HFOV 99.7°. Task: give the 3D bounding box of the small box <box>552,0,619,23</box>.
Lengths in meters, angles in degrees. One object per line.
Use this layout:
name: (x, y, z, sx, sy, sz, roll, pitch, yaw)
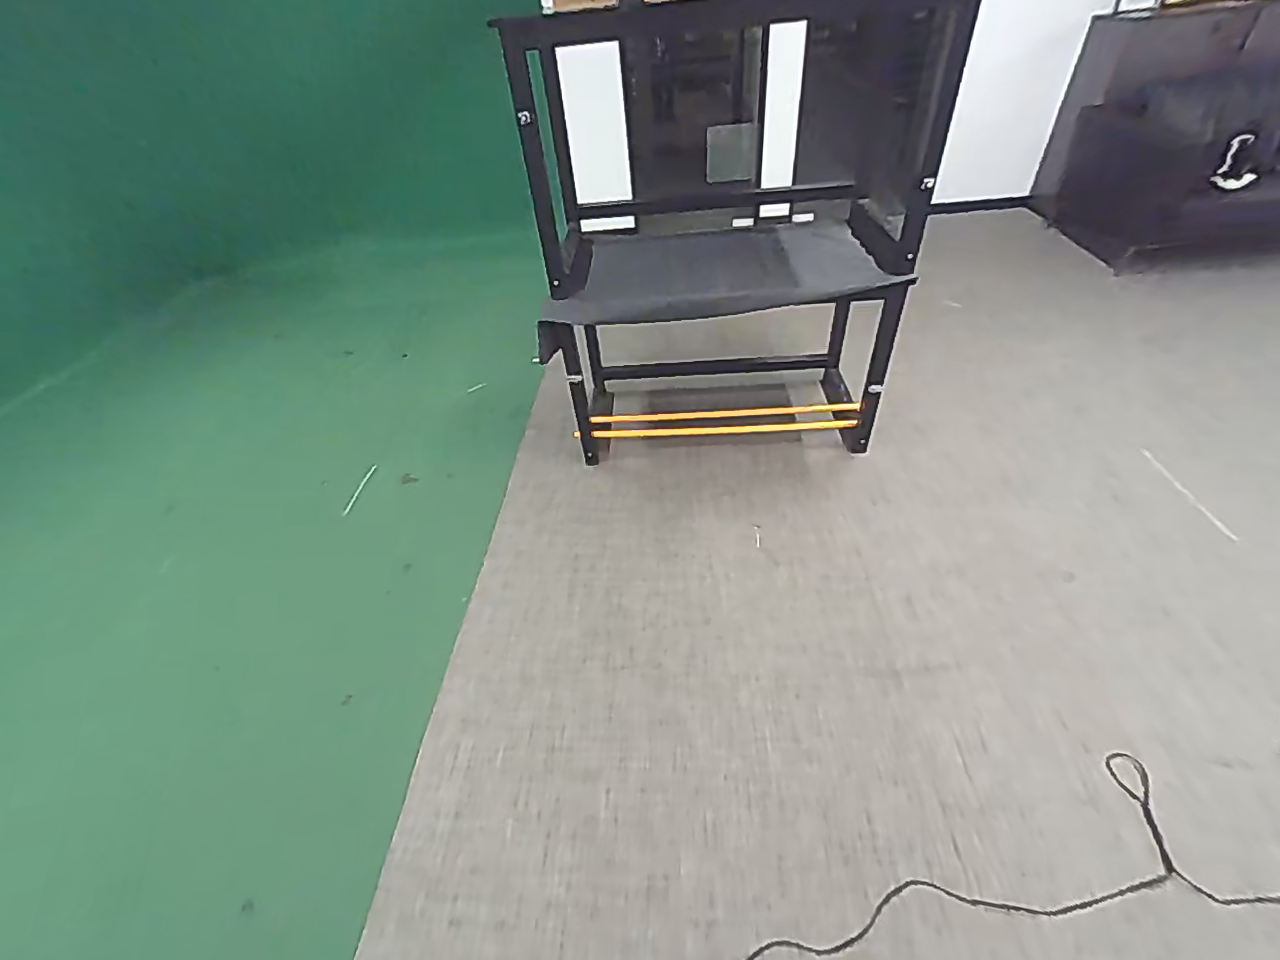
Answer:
small box: (-0.148, -1.316, 1.418, 0.168, 0.176, 0.179, -3, 43, 3)
